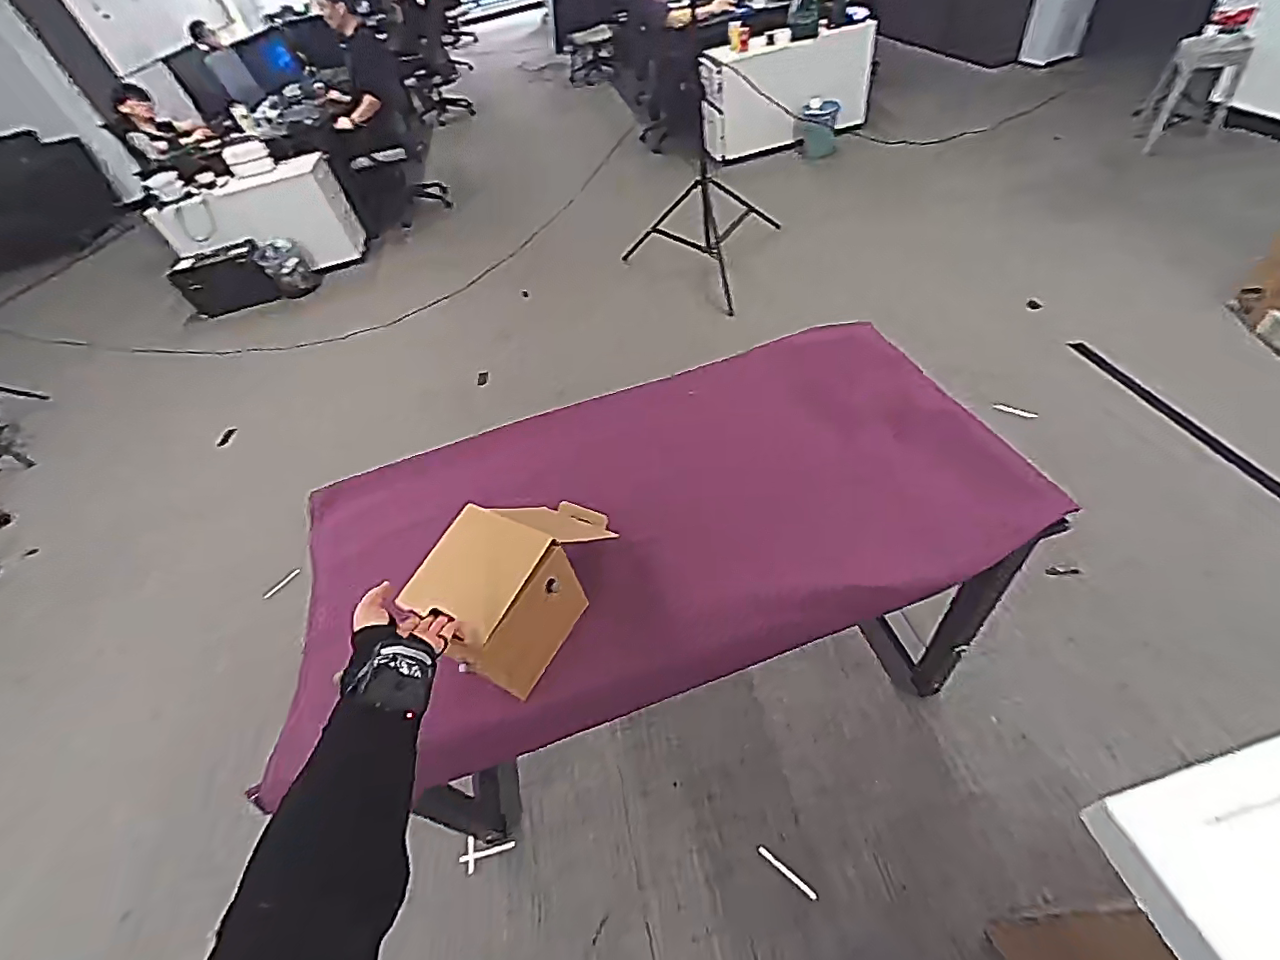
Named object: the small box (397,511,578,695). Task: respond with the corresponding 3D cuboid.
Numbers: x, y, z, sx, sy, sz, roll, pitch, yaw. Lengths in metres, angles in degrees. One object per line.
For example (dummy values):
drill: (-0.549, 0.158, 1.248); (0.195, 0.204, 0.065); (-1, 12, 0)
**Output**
small box: (-0.209, 0.181, 0.801); (0.168, 0.176, 0.179); (17, 54, 27)
